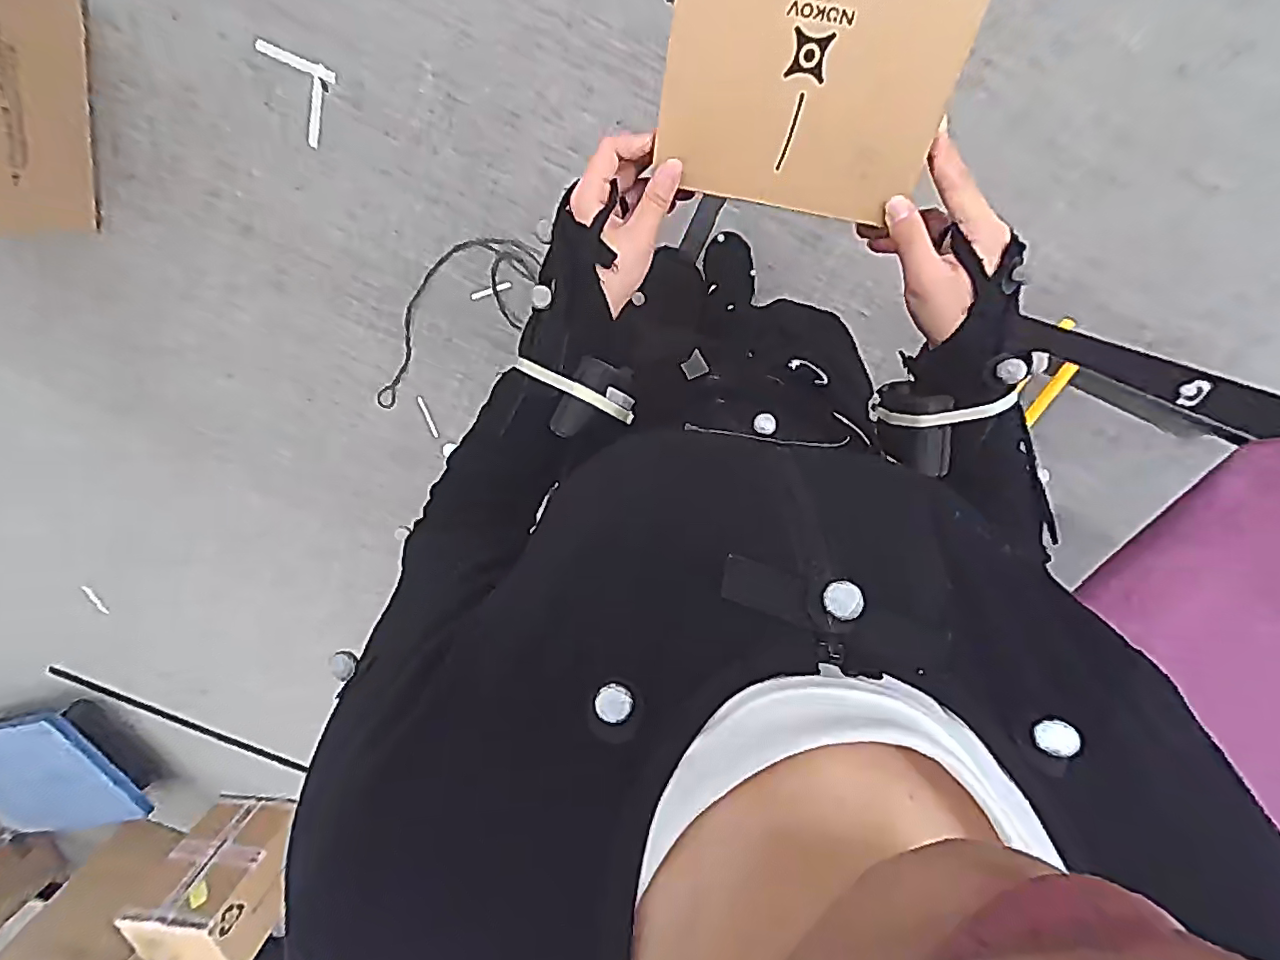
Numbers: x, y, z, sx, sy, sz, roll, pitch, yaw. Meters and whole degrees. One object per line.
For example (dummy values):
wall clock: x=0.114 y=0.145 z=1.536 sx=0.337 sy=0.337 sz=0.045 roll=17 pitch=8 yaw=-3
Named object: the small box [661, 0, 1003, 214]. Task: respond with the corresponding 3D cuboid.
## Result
small box: x=0.117 y=-0.298 z=0.355 sx=0.168 sy=0.176 sz=0.179 roll=13 pitch=126 yaw=2
